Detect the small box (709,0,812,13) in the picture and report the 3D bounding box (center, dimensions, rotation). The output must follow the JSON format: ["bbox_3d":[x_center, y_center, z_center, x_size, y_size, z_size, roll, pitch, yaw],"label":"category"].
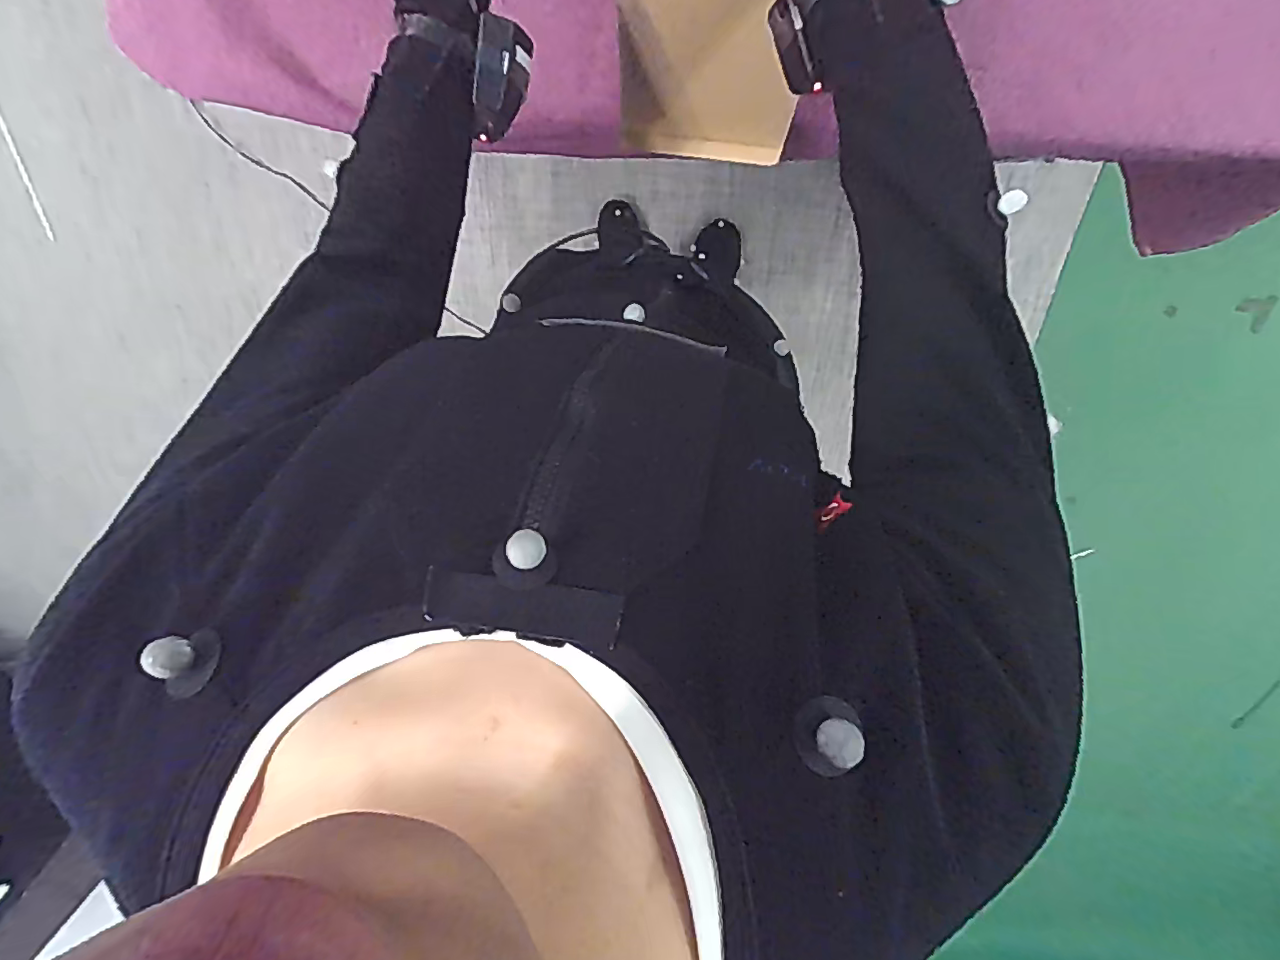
[{"bbox_3d":[0.080,-0.483,0.401,0.168,0.176,0.179,8,118,2],"label":"small box"}]
